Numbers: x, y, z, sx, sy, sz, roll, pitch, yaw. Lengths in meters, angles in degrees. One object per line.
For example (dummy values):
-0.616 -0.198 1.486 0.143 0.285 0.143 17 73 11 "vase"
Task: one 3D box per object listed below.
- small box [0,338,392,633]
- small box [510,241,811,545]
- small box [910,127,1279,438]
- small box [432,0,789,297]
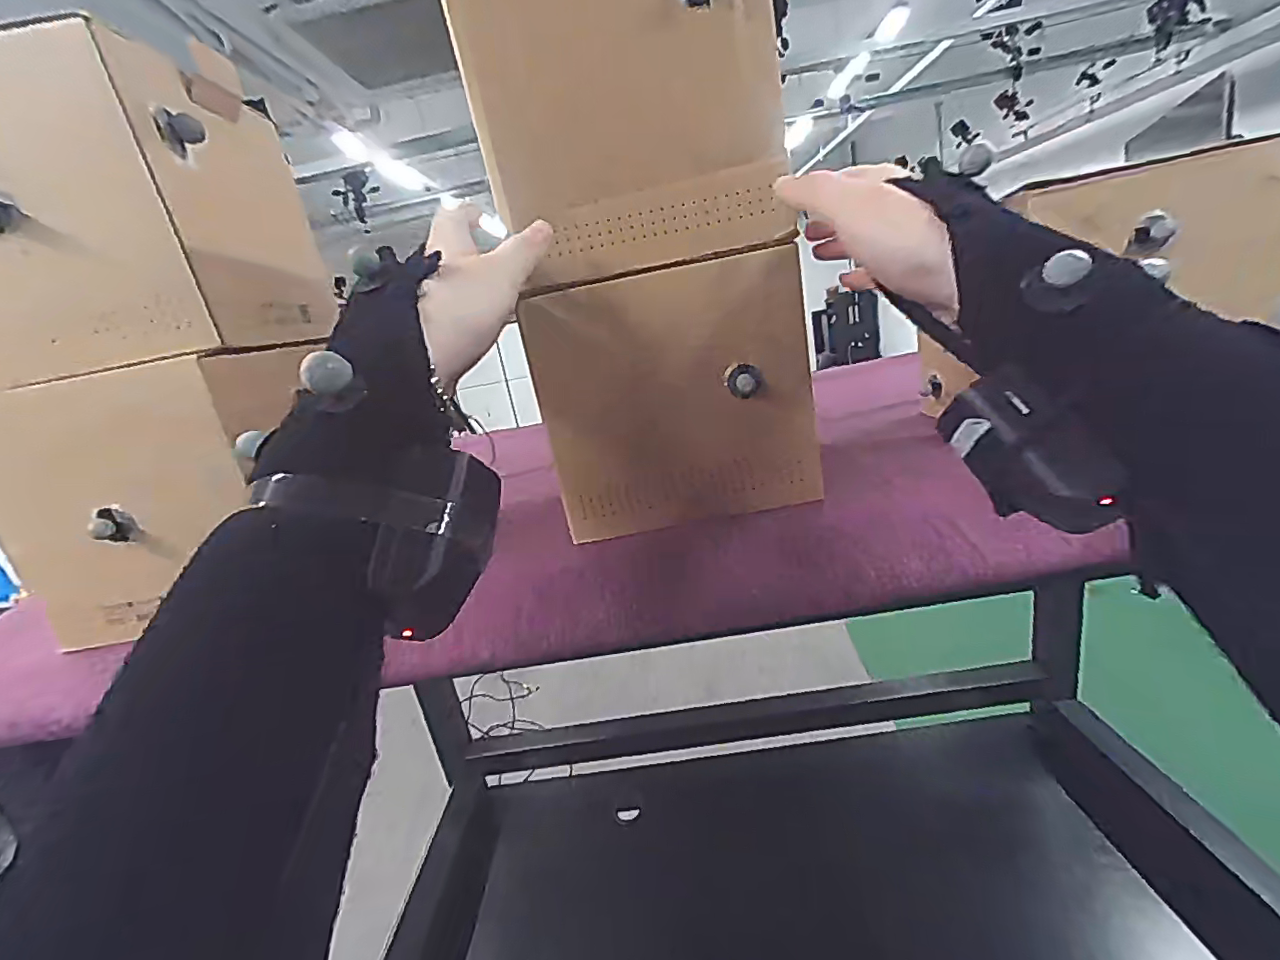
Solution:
-0.315 -0.001 0.405 0.168 0.176 0.179 -10 18 1 "small box"
0.022 -0.068 0.414 0.179 0.176 0.168 -12 16 2 "small box"
0.337 -0.136 0.418 0.179 0.176 0.168 -10 15 5 "small box"
-0.012 -0.221 0.371 0.179 0.176 0.168 -11 16 1 "small box"
